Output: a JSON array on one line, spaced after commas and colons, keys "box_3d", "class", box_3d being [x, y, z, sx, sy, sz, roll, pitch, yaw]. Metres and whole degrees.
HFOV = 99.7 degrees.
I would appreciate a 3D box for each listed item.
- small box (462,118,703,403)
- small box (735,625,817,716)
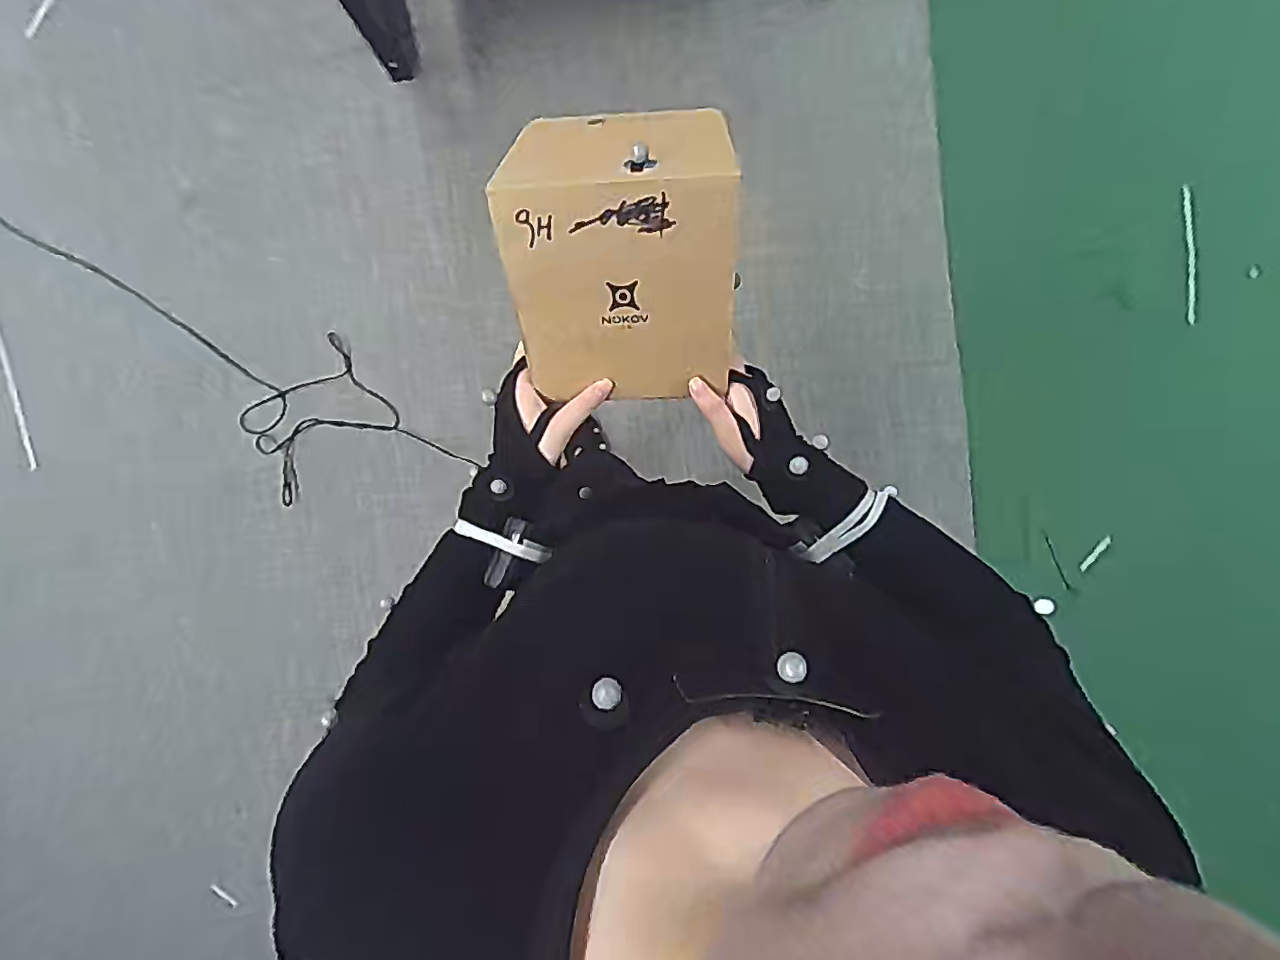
[{"box_3d": [-0.032, -0.189, 0.472, 0.168, 0.176, 0.179, -2, 136, 4], "class": "small box"}, {"box_3d": [0.359, 0.509, 1.463, 0.179, 0.176, 0.168, -10, 96, 0], "class": "small box"}]
